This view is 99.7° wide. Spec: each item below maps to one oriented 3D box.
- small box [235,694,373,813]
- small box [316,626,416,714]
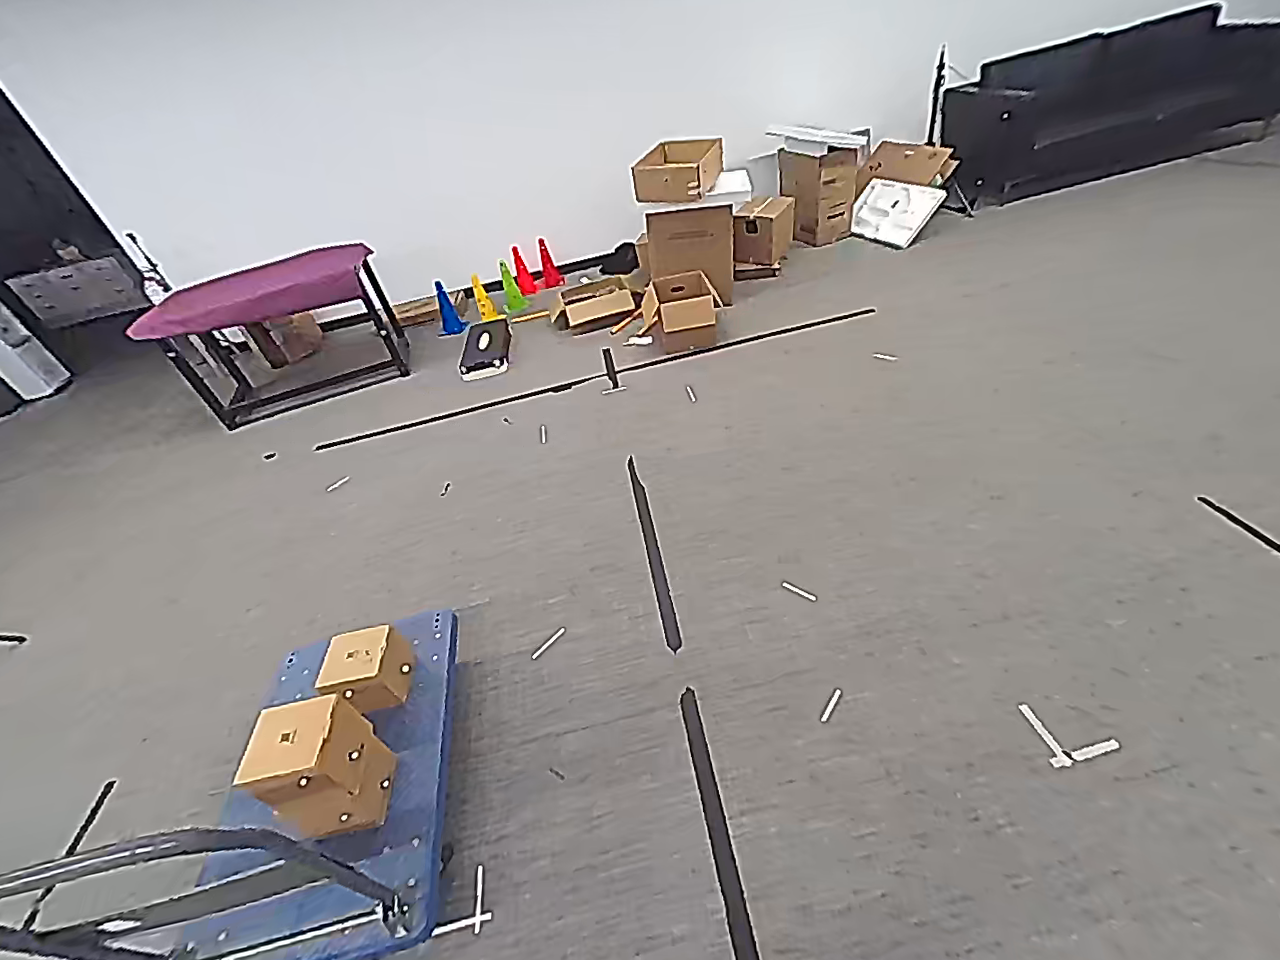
[{"bbox_3d":[-0.733,0.610,1.201,0.179,0.176,0.168,-13,39,-2],"label":"small box"},{"bbox_3d":[-0.772,0.547,1.540,0.179,0.176,0.168,-12,40,1],"label":"small box"}]
